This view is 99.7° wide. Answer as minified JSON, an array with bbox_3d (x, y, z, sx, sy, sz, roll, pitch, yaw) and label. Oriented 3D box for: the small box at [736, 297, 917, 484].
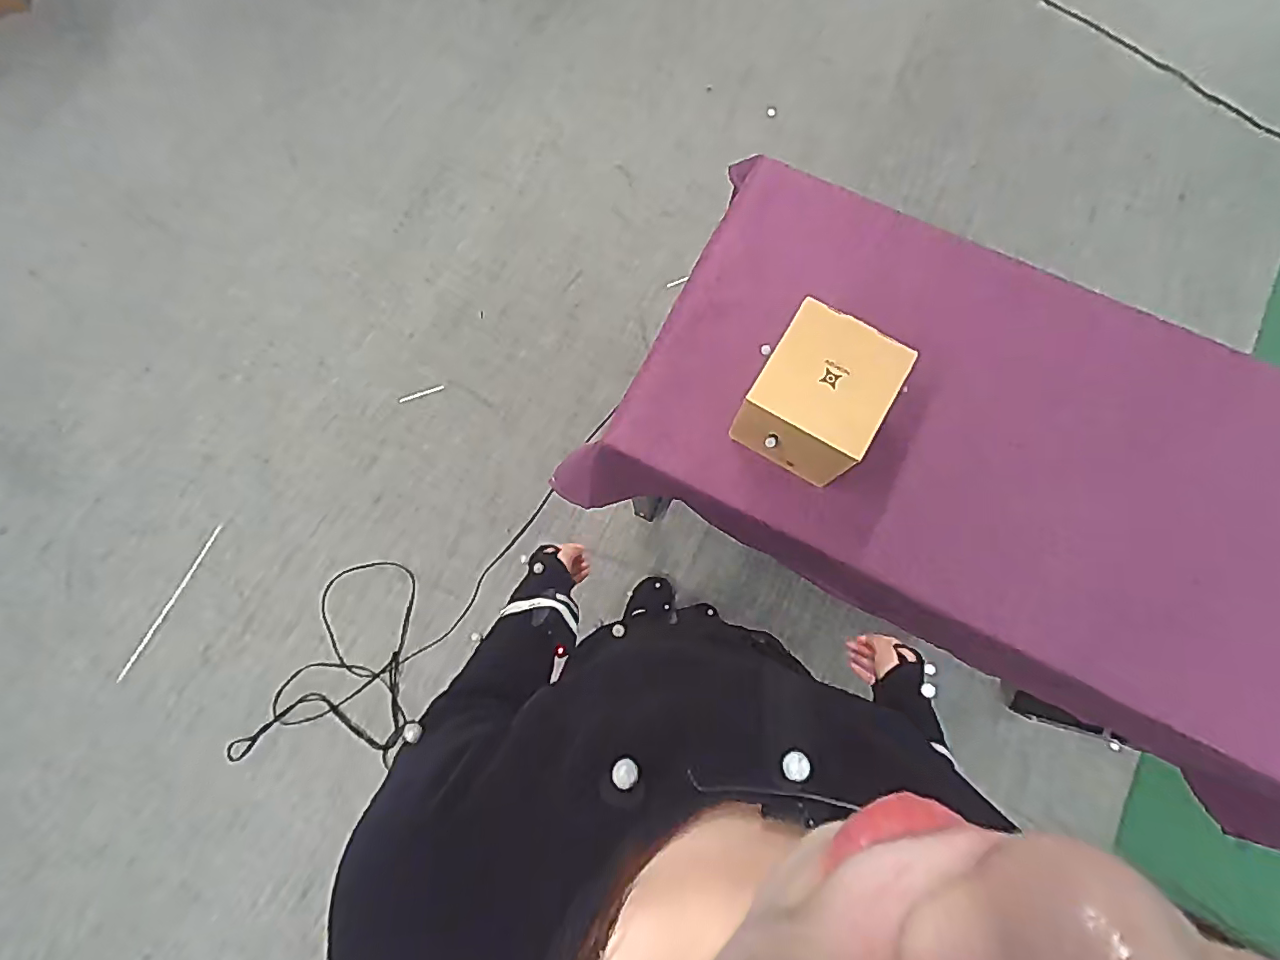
[{"bbox_3d":[0.251,-0.116,0.775,0.168,0.176,0.179,31,79,9],"label":"small box"}]
